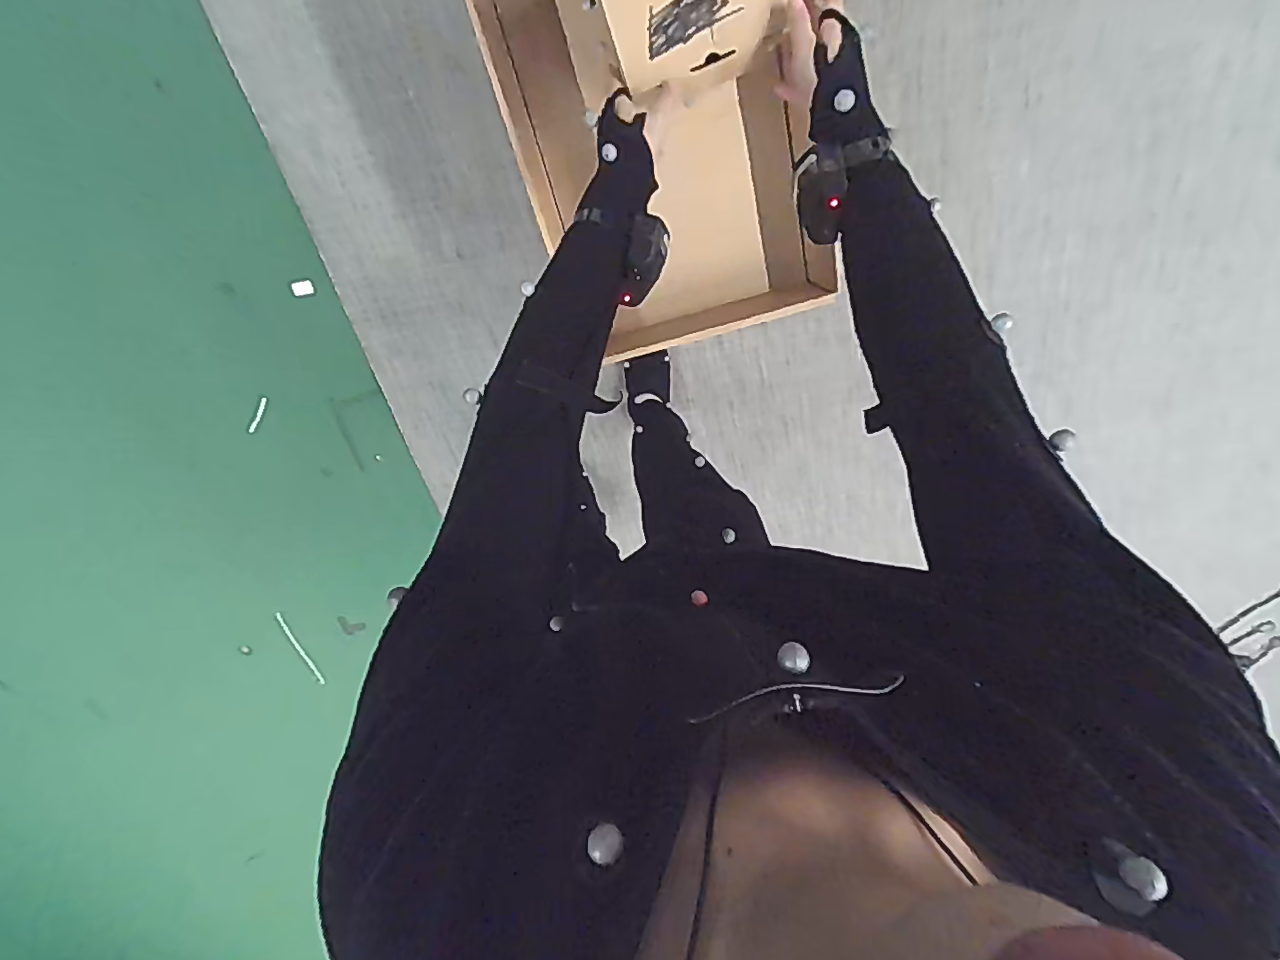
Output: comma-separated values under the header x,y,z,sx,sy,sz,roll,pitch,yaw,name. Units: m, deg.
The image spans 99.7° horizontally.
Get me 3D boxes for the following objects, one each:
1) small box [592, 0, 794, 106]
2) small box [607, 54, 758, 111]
x,y,z,sx,sy,sz,roll,pitch,yaw,name
0.036,-0.499,0.535,0.168,0.176,0.179,-19,118,8,small box
0.035,-0.586,0.675,0.168,0.176,0.179,-18,119,7,small box
